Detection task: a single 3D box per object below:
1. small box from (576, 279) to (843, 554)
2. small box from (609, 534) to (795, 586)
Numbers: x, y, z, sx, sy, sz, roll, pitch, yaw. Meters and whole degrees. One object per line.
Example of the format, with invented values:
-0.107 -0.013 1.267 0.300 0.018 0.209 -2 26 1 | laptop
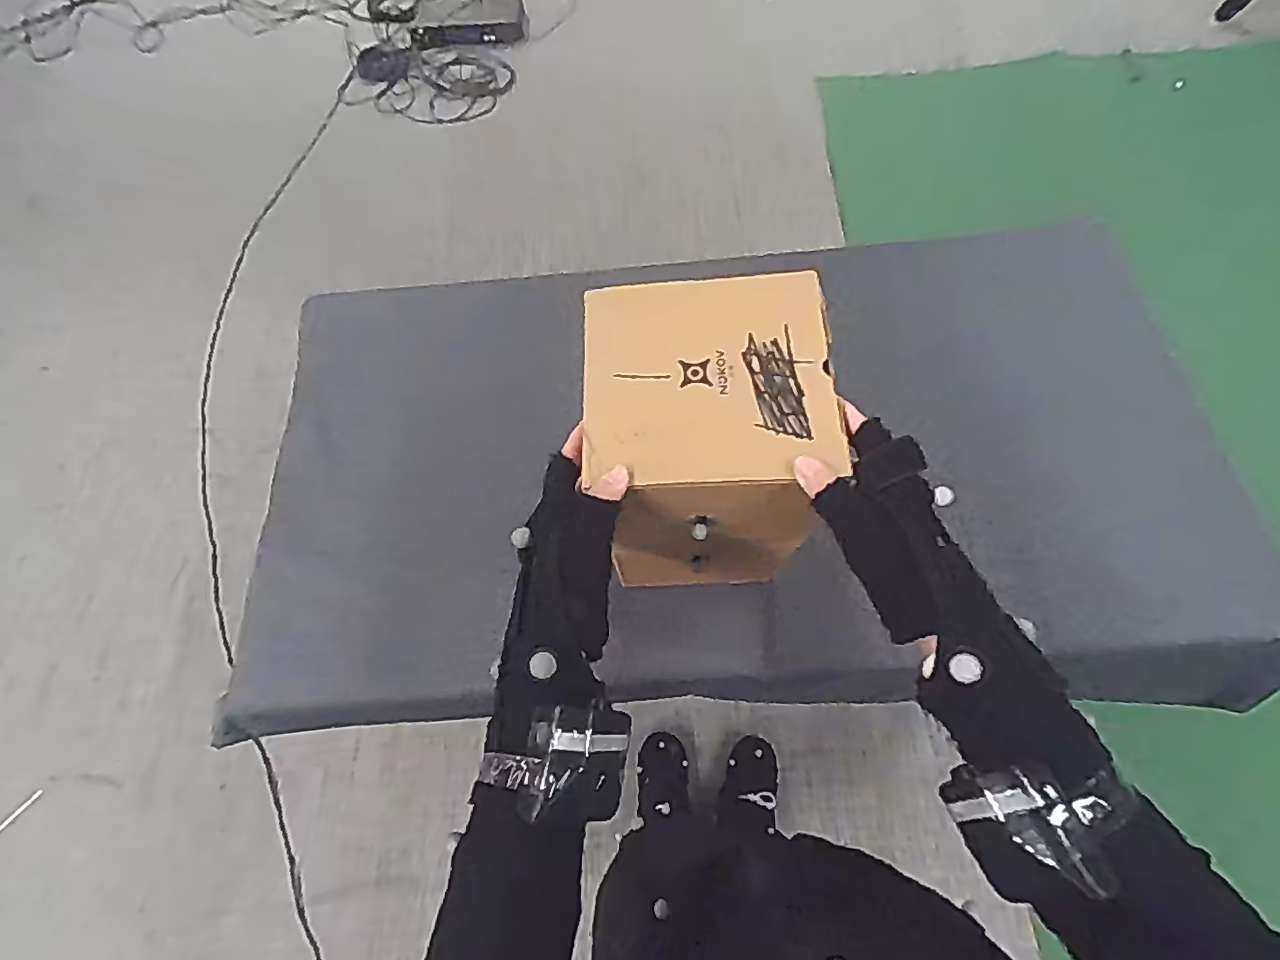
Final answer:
0.049 -0.039 0.452 0.179 0.176 0.168 -4 68 5 | small box
0.060 0.020 0.605 0.179 0.176 0.168 -4 68 2 | small box
